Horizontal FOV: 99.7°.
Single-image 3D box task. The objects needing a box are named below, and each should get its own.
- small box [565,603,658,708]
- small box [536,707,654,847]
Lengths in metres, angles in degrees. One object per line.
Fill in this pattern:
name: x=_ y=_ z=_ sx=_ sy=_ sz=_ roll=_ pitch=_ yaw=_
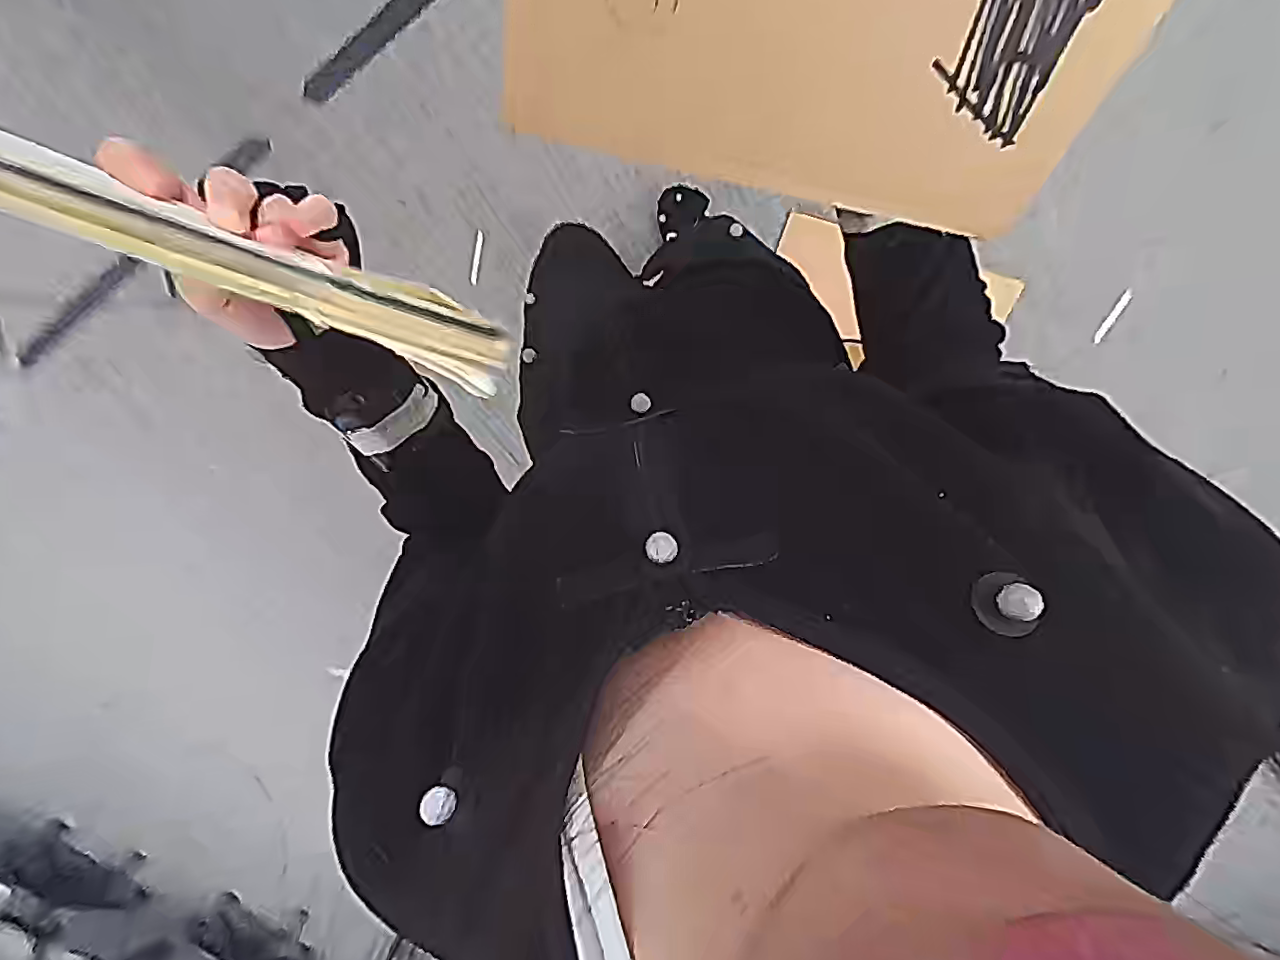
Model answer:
small box: x=-0.068 y=0.442 z=1.393 sx=0.168 sy=0.176 sz=0.179 roll=-31 pitch=114 yaw=17
small box: x=-0.082 y=0.604 z=1.106 sx=0.168 sy=0.176 sz=0.179 roll=-29 pitch=114 yaw=16
